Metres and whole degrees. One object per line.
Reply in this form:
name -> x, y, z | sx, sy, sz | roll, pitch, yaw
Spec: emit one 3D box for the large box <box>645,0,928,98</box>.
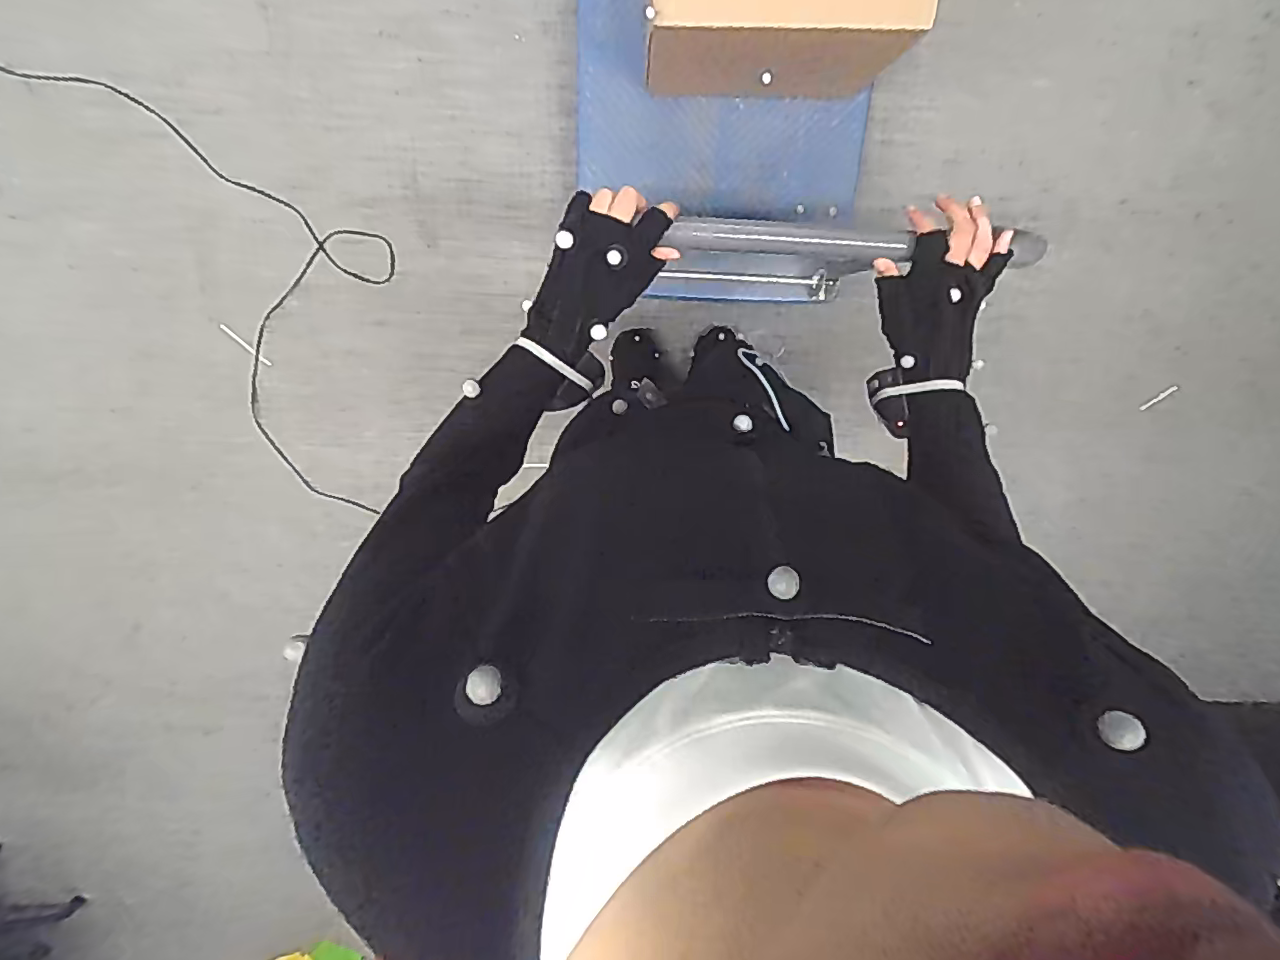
large box -> 0.213, -0.839, 0.867 | 0.408, 0.320, 0.320 | 1, 109, 0
